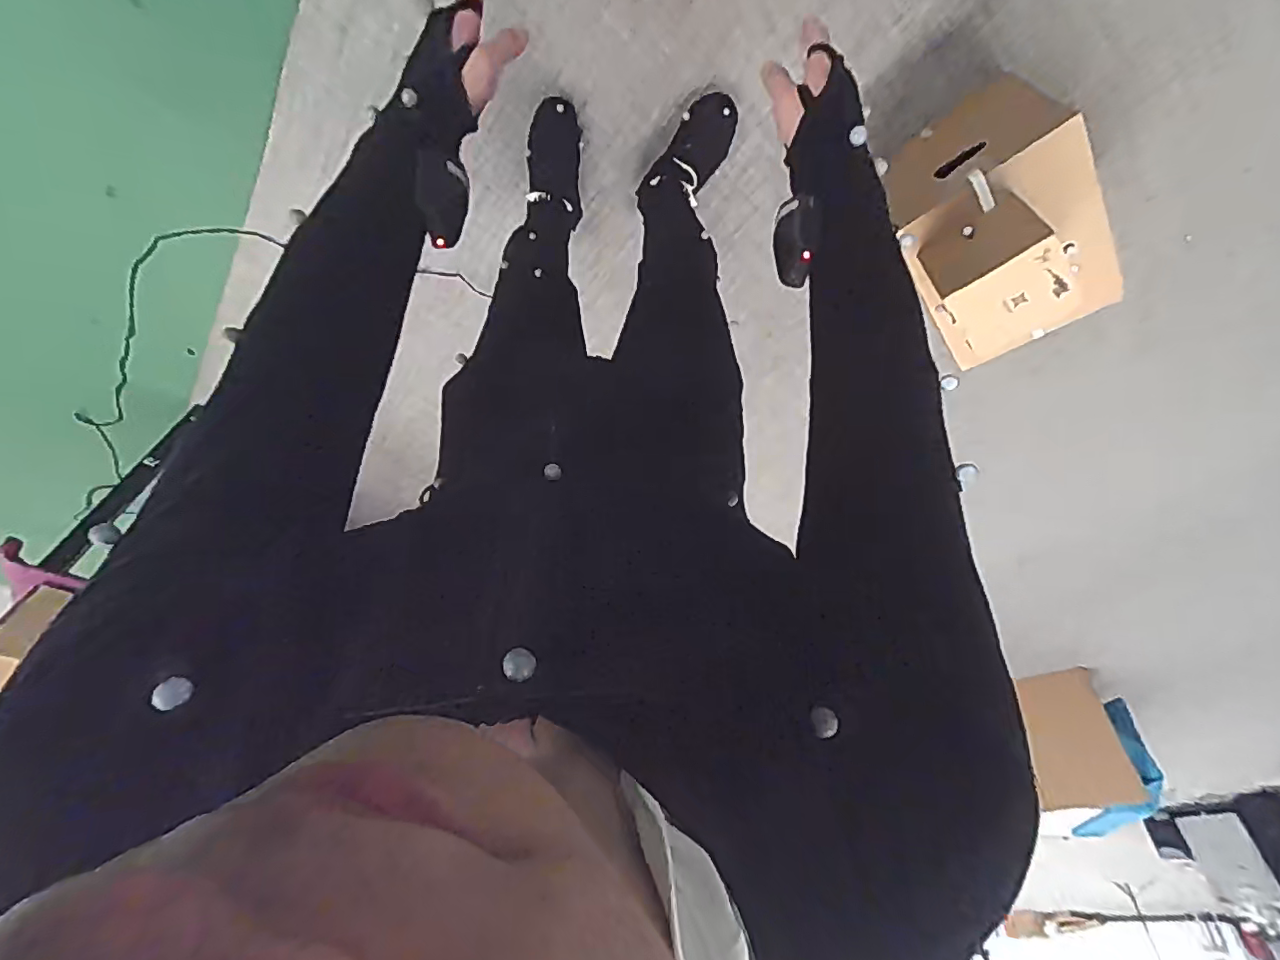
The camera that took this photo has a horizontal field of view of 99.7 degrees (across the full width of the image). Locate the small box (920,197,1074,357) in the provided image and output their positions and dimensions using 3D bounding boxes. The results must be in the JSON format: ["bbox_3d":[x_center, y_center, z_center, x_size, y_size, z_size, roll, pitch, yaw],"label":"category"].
[{"bbox_3d":[0.634,-0.366,0.981,0.179,0.176,0.168,-29,128,33],"label":"small box"}]
